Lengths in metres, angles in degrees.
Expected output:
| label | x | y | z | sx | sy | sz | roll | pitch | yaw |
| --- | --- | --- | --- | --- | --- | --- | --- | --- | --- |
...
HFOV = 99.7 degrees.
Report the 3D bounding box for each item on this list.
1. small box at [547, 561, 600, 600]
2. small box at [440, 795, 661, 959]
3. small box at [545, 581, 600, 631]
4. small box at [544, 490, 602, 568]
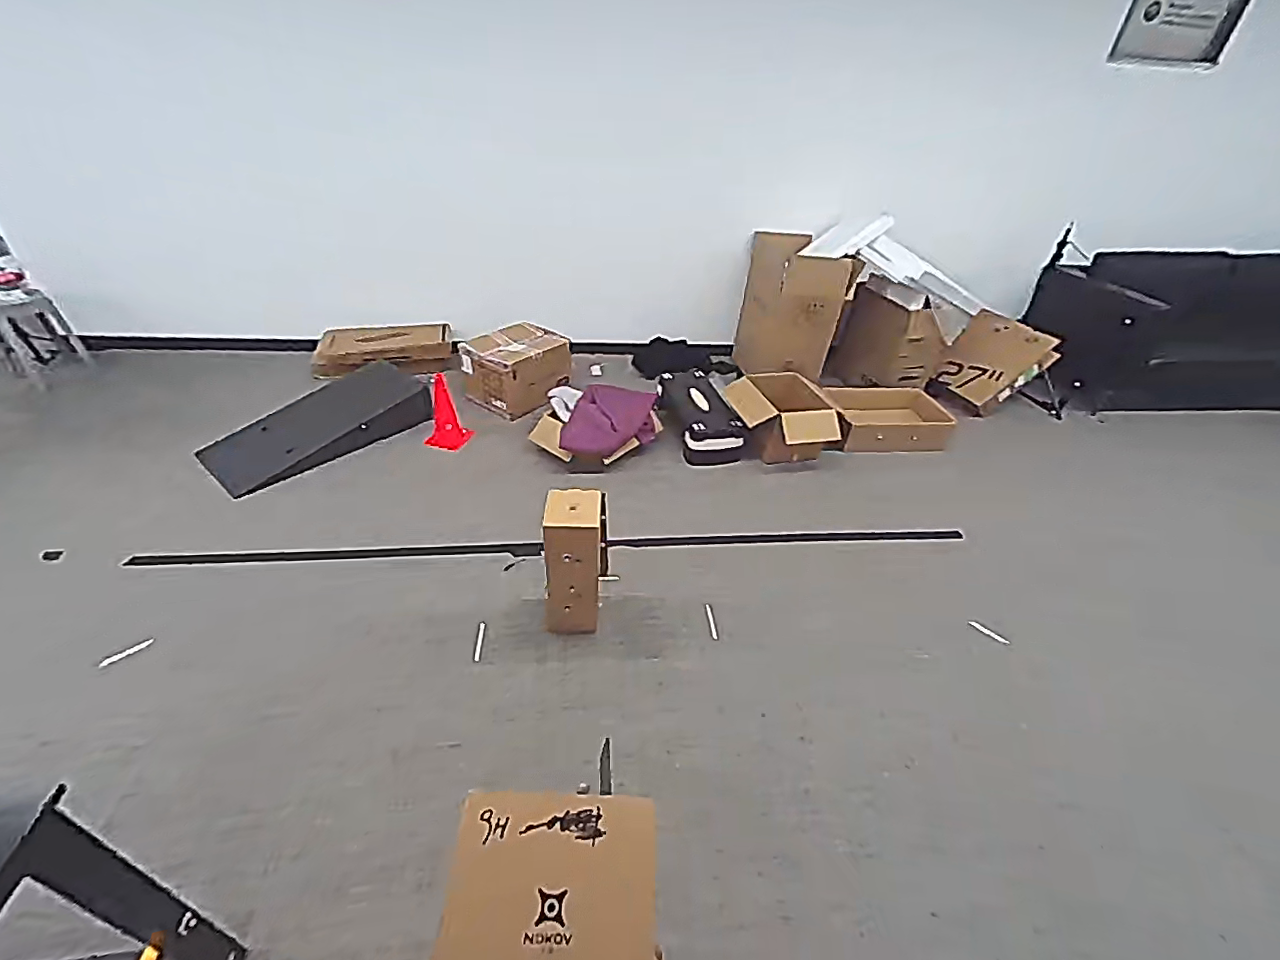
| label | x | y | z | sx | sy | sz | roll | pitch | yaw |
| --- | --- | --- | --- | --- | --- | --- | --- | --- | --- |
| small box | -0.214 | 0.273 | 1.781 | 0.168 | 0.176 | 0.179 | 1 | 37 | -4 |
| small box | -0.070 | 0.392 | 0.471 | 0.168 | 0.176 | 0.179 | 4 | 49 | -3 |
| small box | -0.231 | 0.408 | 1.874 | 0.179 | 0.176 | 0.168 | 2 | 37 | -4 |
| small box | -0.203 | 0.150 | 1.673 | 0.168 | 0.176 | 0.179 | 1 | 38 | -3 |
